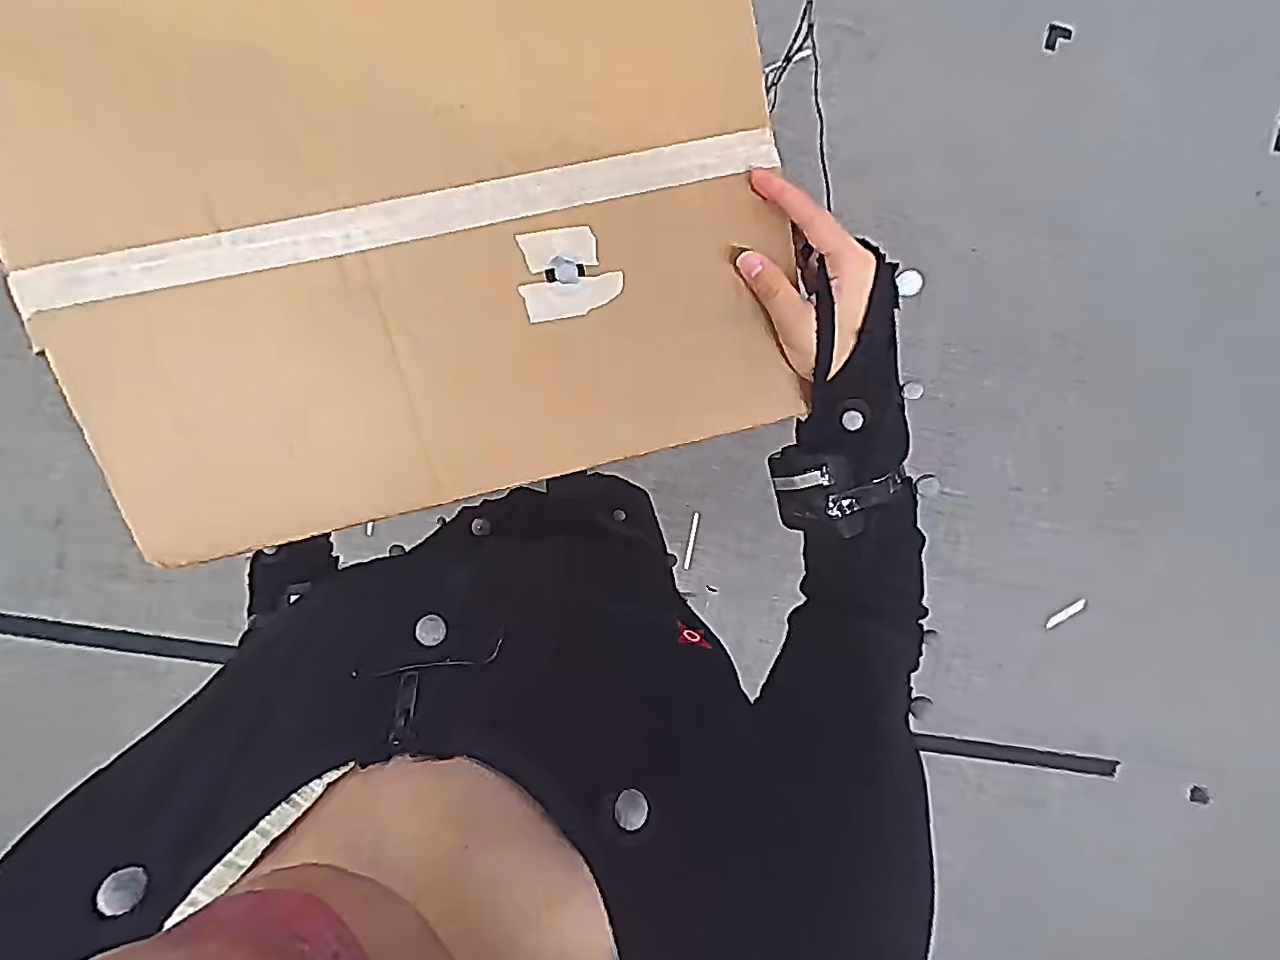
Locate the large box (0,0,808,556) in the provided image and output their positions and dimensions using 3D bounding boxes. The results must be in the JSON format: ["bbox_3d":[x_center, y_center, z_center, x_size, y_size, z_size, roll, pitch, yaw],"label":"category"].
[{"bbox_3d":[-0.135,-0.173,0.452,0.408,0.320,0.320,-14,103,-7],"label":"large box"}]
